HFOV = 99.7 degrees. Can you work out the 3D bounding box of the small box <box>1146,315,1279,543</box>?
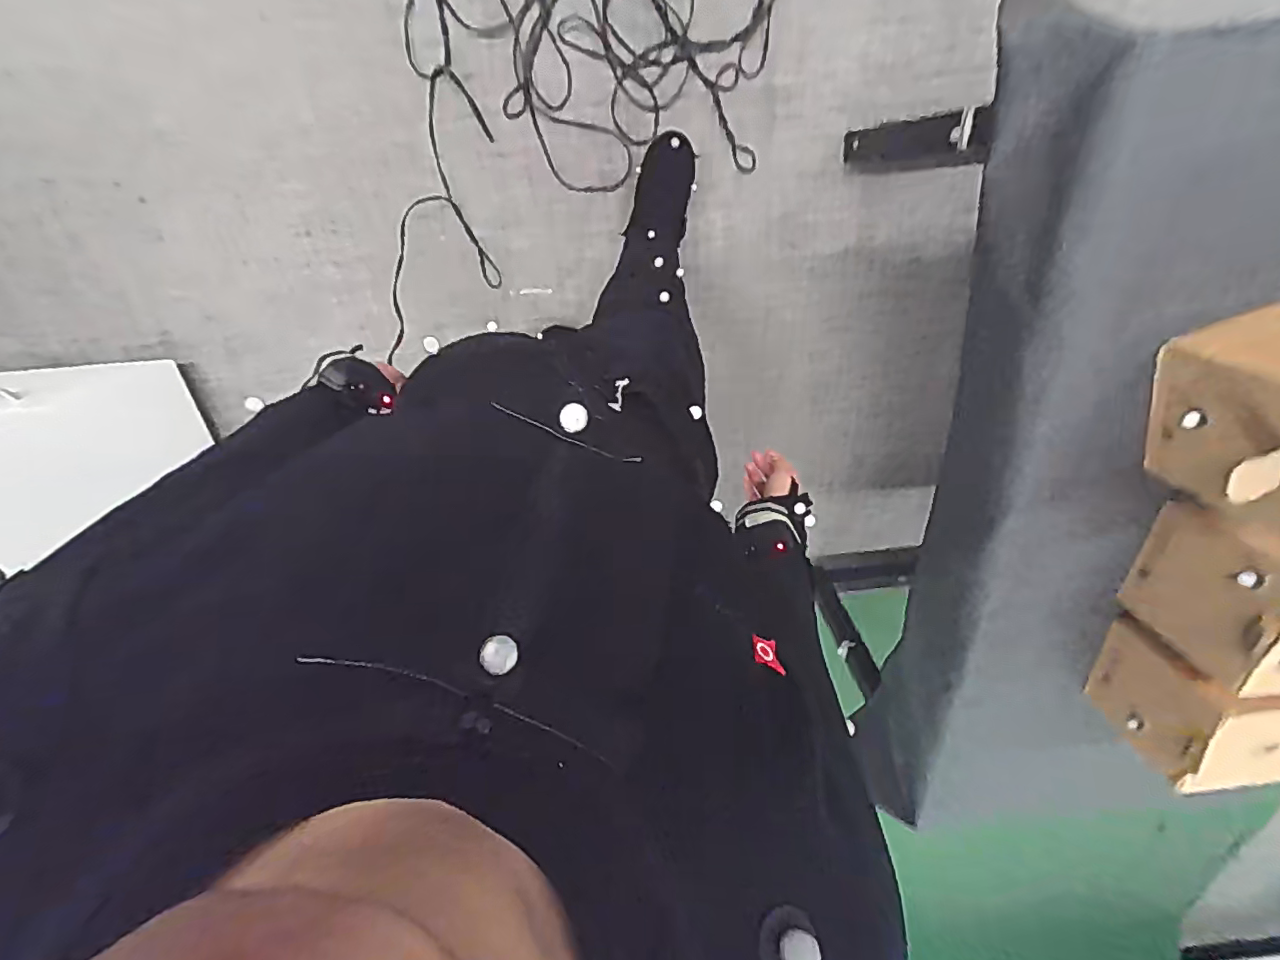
[{"bbox_3d":[0.676,-0.064,0.540,0.179,0.176,0.168,-19,119,7],"label":"small box"}]
